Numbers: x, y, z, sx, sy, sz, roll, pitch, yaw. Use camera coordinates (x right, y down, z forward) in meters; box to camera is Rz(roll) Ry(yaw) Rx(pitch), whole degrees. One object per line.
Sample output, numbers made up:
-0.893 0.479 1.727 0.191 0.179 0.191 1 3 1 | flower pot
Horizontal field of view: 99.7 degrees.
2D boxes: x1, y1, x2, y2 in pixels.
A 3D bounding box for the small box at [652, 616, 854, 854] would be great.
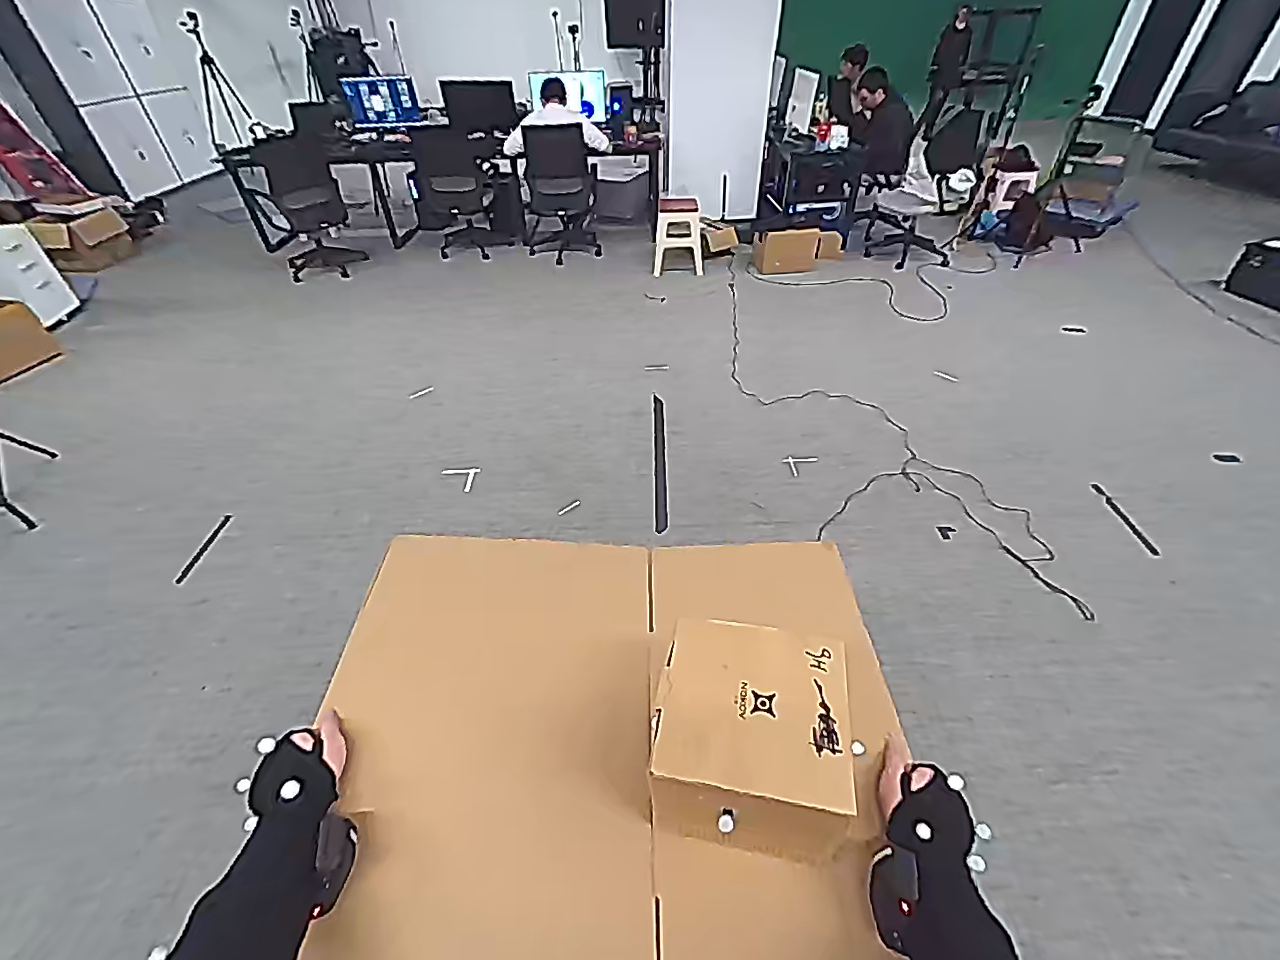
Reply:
0.119 0.270 0.576 0.179 0.176 0.168 4 44 12 | small box
